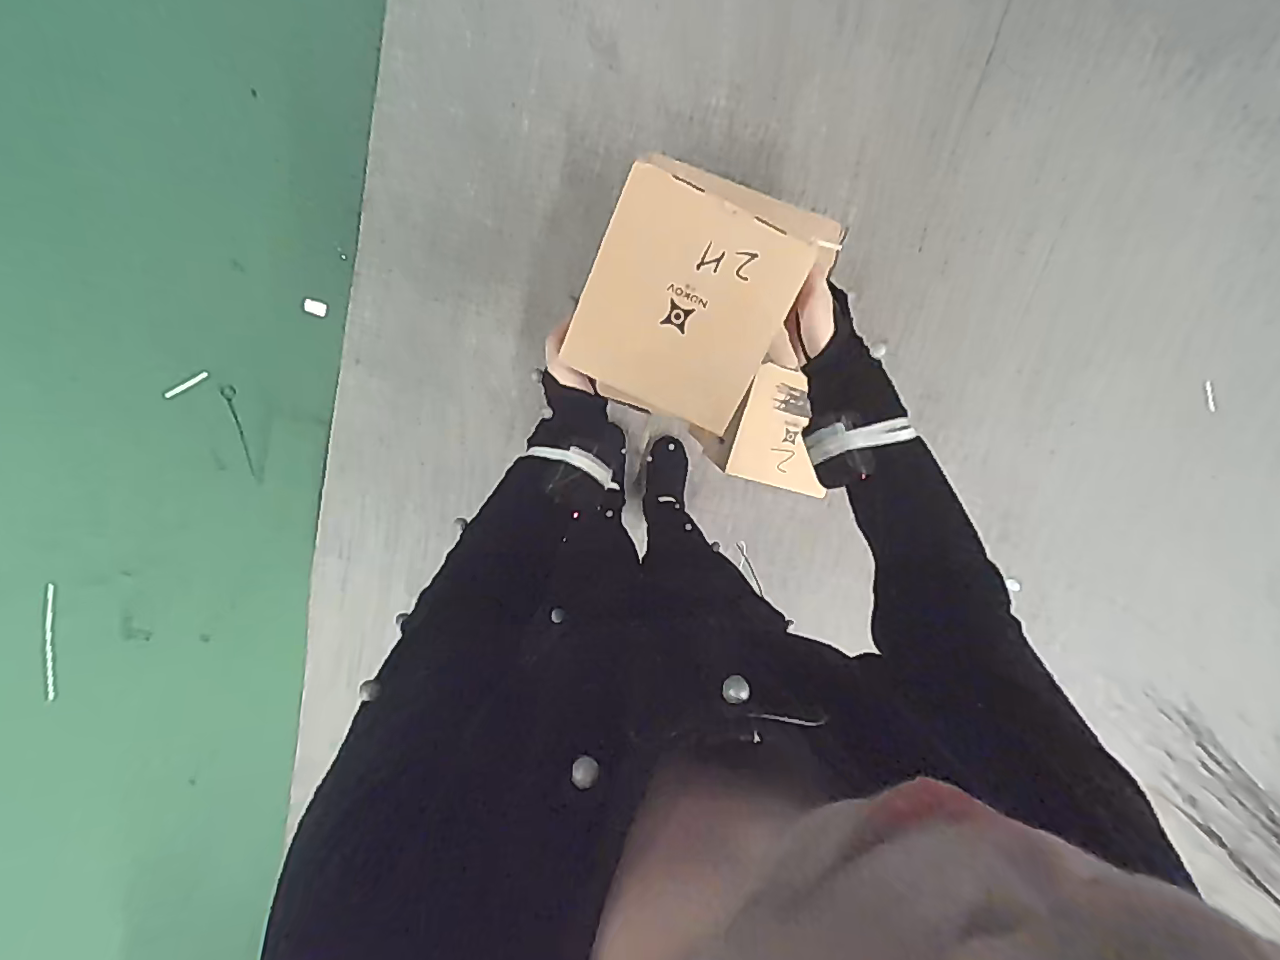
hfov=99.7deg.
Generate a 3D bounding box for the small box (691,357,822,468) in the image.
[{"bbox_3d":[0.213,-0.136,1.033,0.179,0.176,0.168,13,101,-8],"label":"small box"}]
